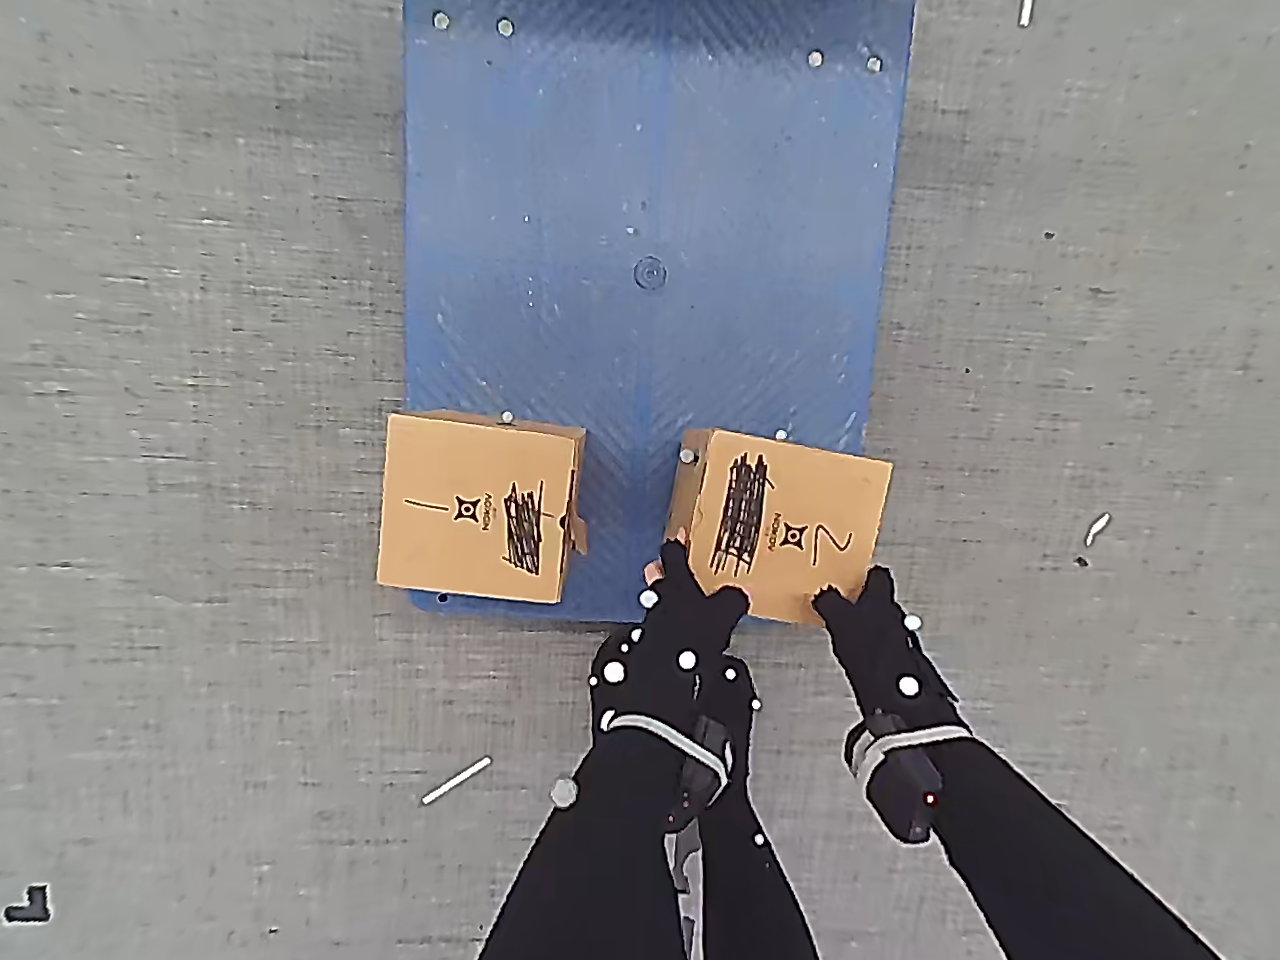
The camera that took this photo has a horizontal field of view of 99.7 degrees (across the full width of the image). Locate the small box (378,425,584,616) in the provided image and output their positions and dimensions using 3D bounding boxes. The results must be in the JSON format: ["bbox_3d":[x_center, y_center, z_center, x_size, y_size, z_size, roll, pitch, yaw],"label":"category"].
[{"bbox_3d":[-0.157,0.032,0.588,0.179,0.176,0.168,7,97,-4],"label":"small box"}]
